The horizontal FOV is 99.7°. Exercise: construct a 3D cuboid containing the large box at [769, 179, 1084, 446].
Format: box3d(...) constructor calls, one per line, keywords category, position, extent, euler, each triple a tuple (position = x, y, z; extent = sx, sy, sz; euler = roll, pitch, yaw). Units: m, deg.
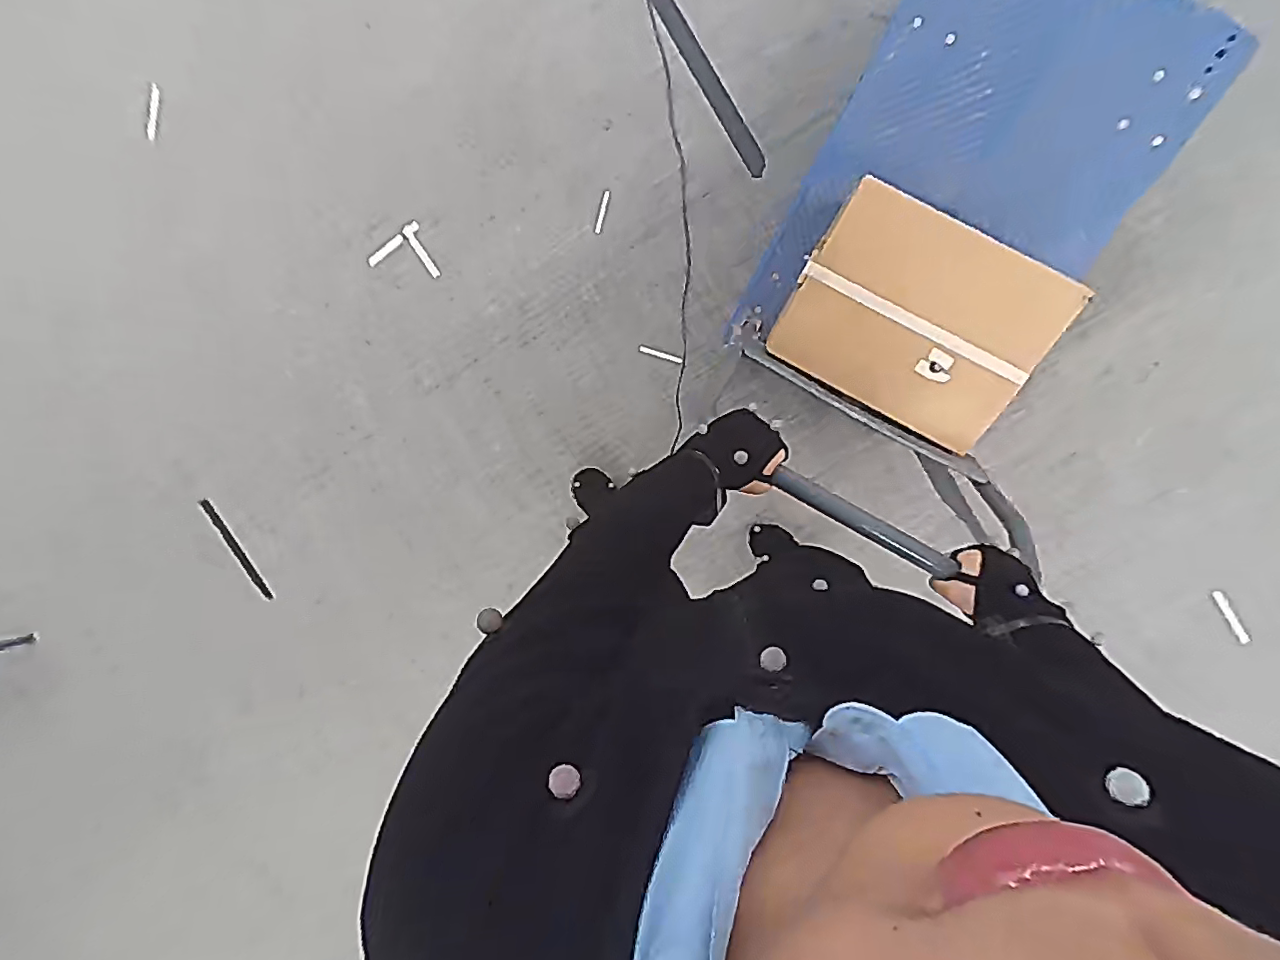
box3d(category="large box", position=(0.505, -0.325, 1.065), extent=(0.408, 0.320, 0.320), euler=(29, 114, 2))
